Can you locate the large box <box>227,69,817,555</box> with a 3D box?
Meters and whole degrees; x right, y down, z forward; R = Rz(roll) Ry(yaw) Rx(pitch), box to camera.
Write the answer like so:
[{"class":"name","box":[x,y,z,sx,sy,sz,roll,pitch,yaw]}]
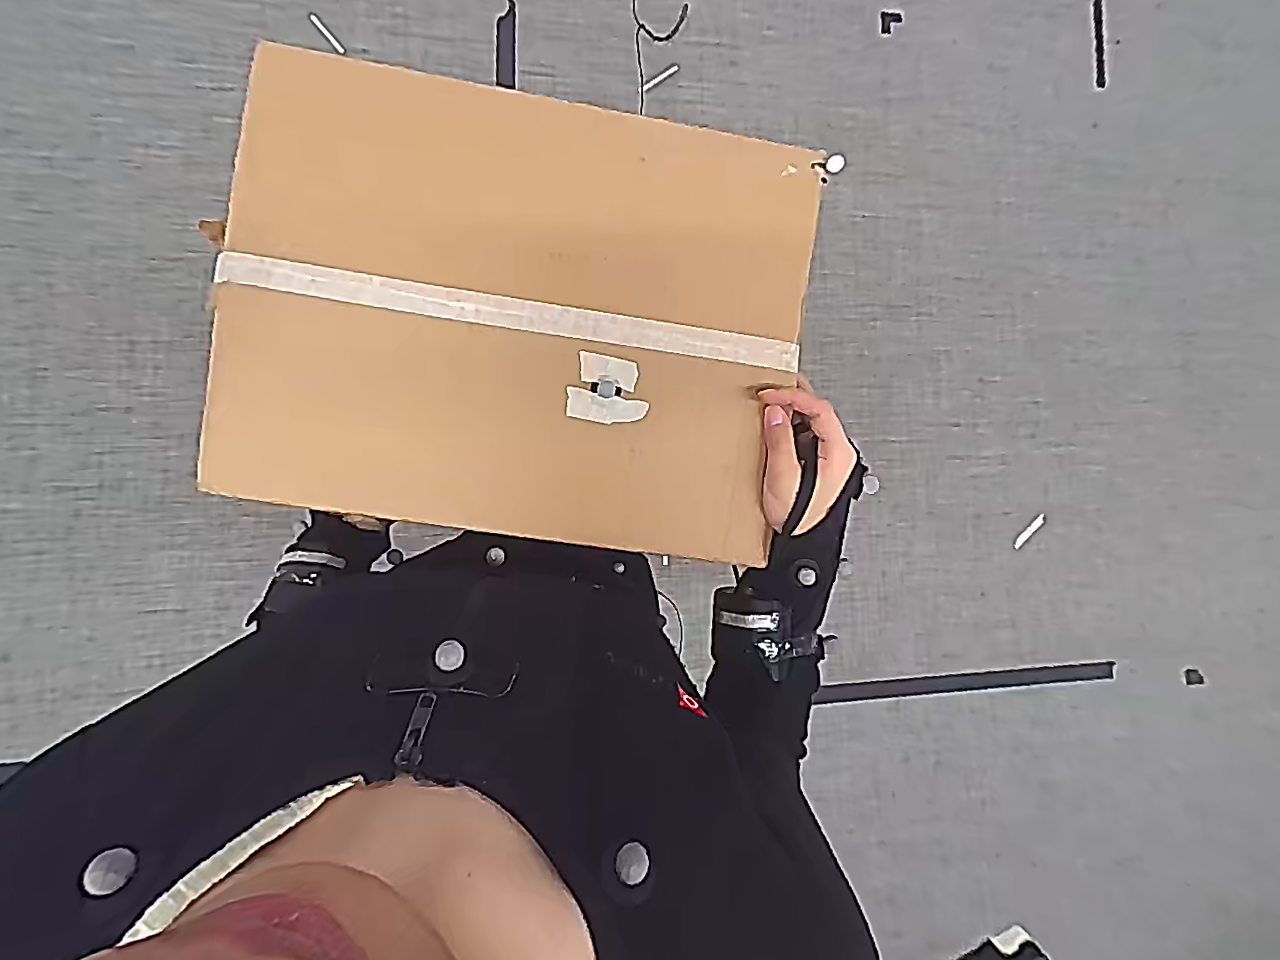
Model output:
[{"class":"large box","box":[-0.092,-0.117,0.543,0.408,0.320,0.320,7,91,-5]}]
